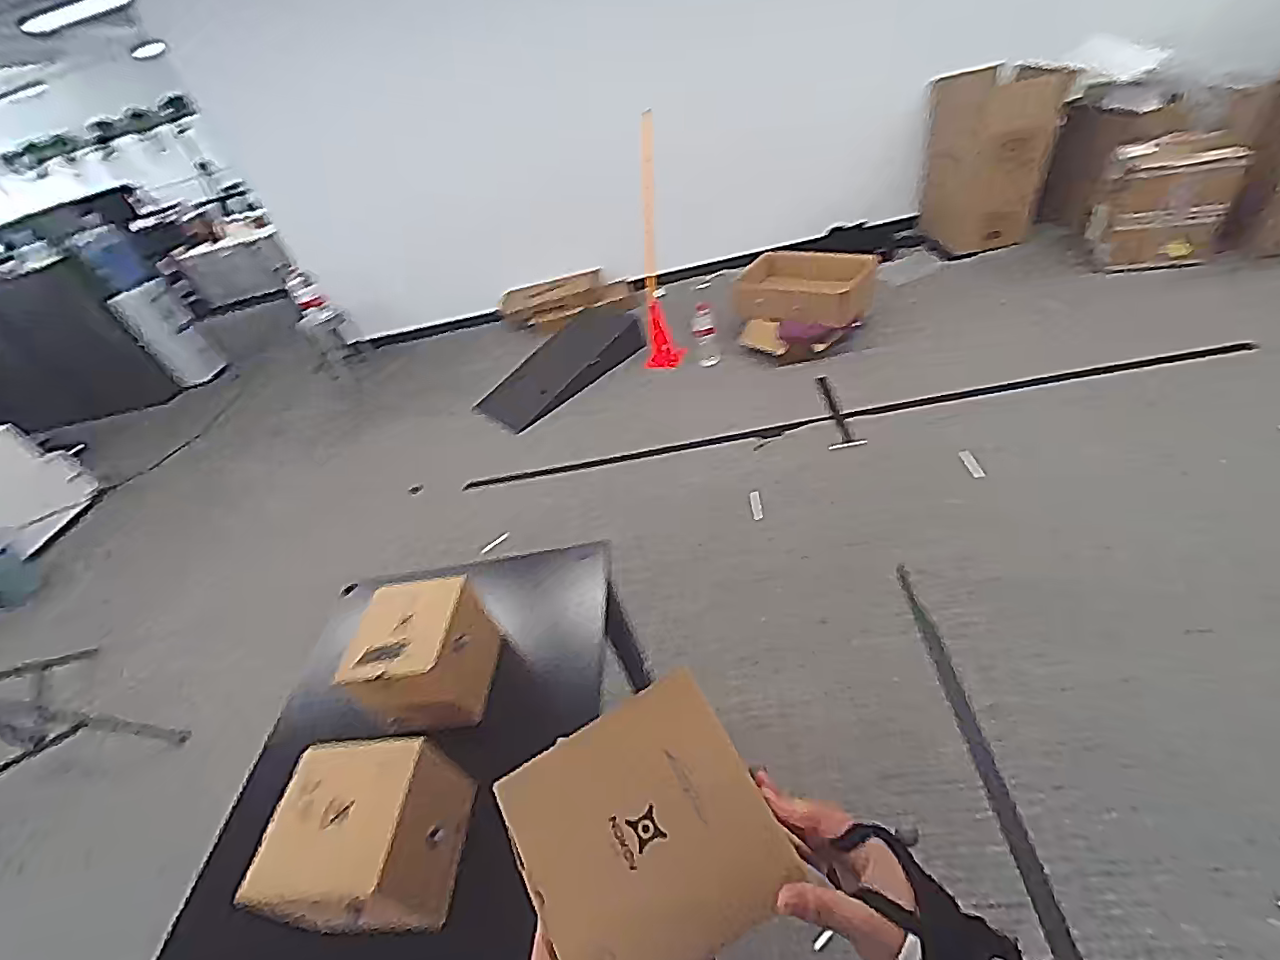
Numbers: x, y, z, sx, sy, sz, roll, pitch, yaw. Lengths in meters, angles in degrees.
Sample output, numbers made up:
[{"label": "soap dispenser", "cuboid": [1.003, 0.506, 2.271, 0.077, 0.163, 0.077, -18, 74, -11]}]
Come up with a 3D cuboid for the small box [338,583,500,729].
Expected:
[{"label": "small box", "cuboid": [-0.354, 0.301, 0.909, 0.168, 0.176, 0.179, -9, 40, 10]}]

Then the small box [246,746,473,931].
[{"label": "small box", "cuboid": [-0.346, 0.471, 0.711, 0.179, 0.176, 0.168, -9, 40, 10]}]
